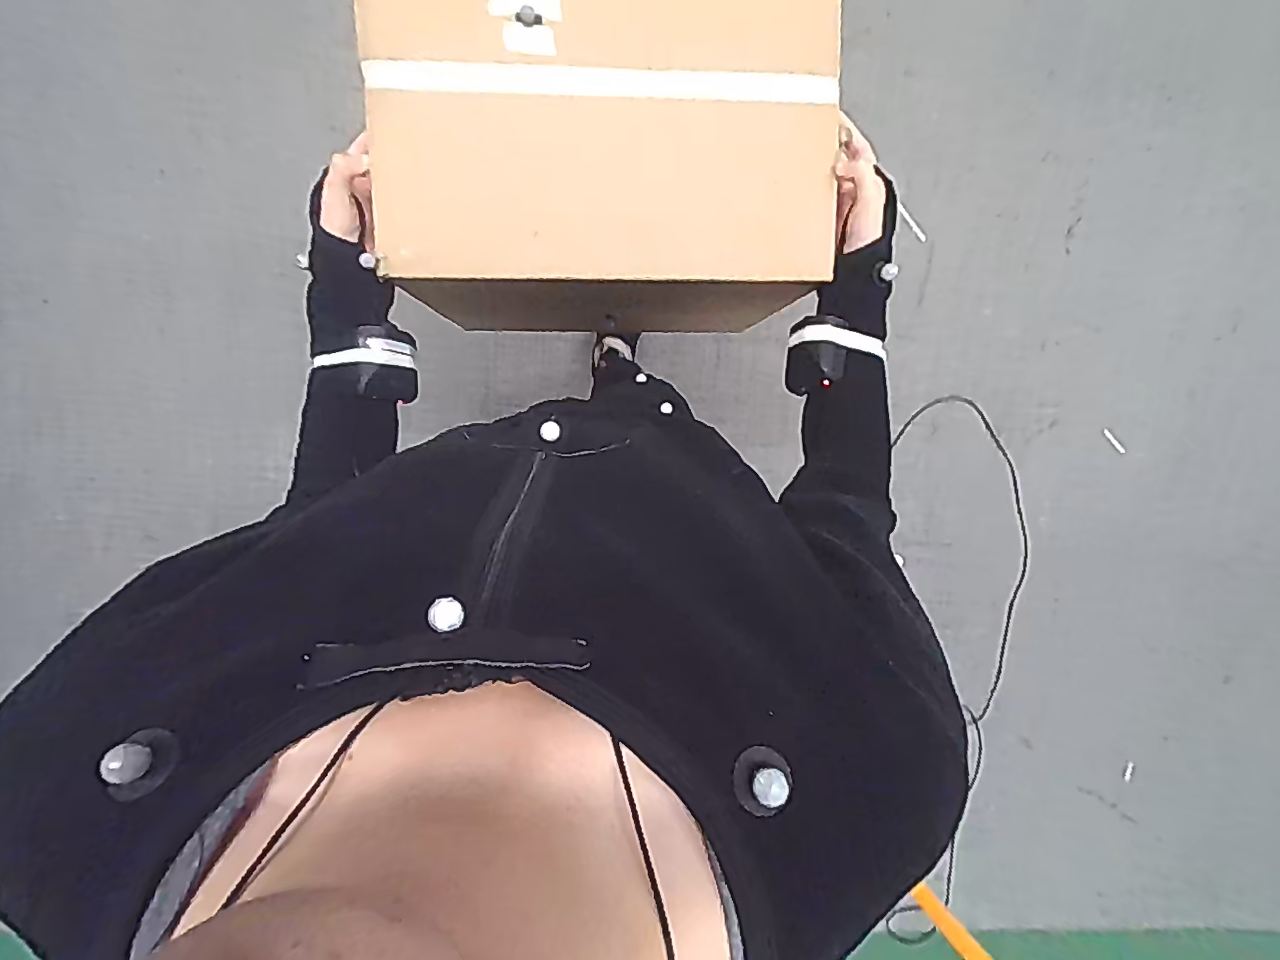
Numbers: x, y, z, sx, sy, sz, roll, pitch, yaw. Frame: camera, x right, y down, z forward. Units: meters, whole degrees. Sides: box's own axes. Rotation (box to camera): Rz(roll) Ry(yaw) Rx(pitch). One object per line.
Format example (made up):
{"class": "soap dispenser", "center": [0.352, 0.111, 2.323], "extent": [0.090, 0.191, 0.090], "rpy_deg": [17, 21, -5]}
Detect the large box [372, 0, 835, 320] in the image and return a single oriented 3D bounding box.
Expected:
{"class": "large box", "center": [-0.034, -0.361, 0.619], "extent": [0.408, 0.320, 0.320], "rpy_deg": [-1, 97, -4]}
